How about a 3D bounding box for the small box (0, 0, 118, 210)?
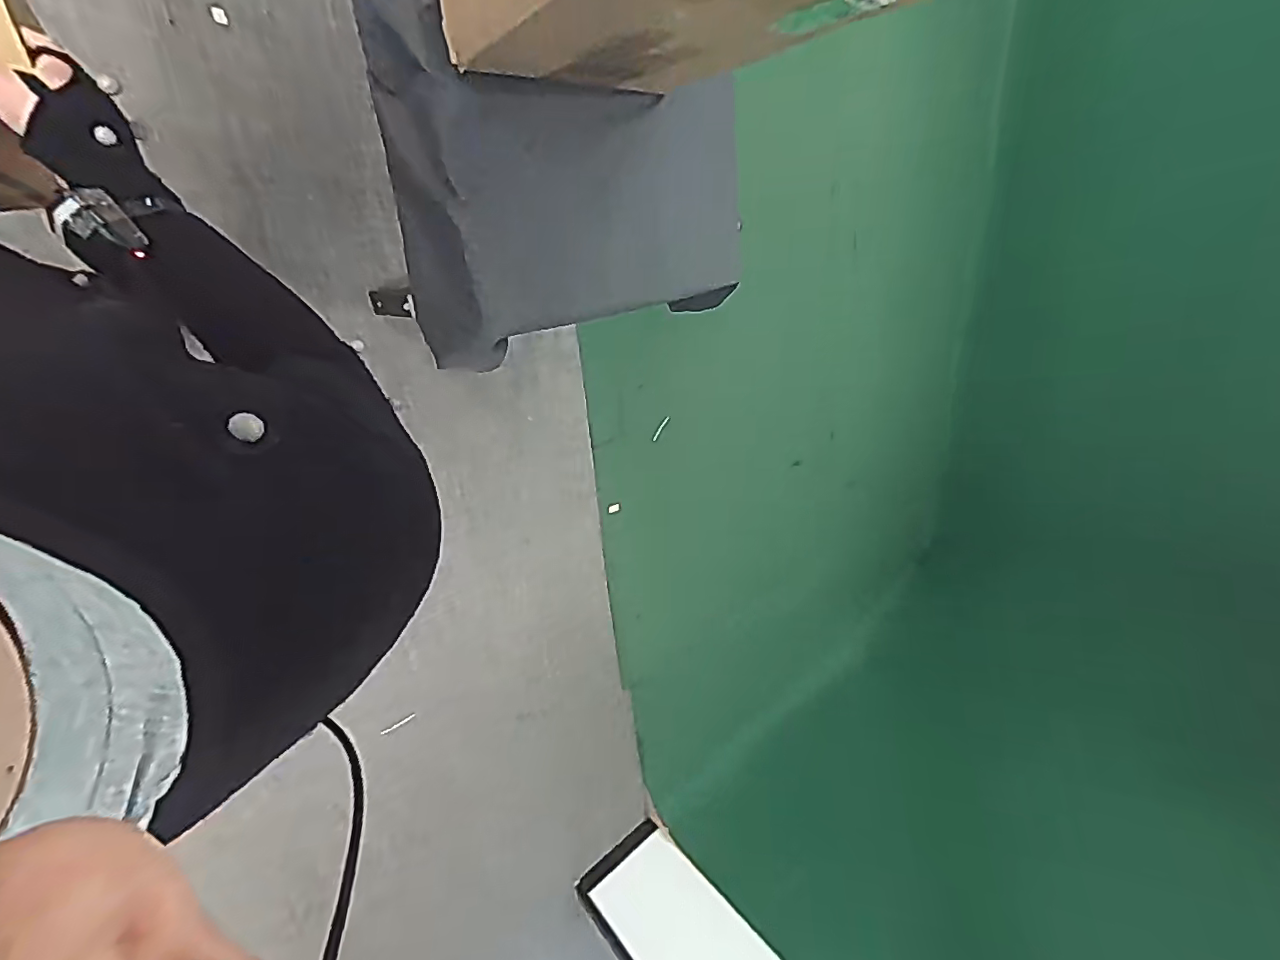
[{"bbox_3d":[-0.616,-0.356,0.472,0.168,0.176,0.179,-24,94,-28],"label":"small box"}]
